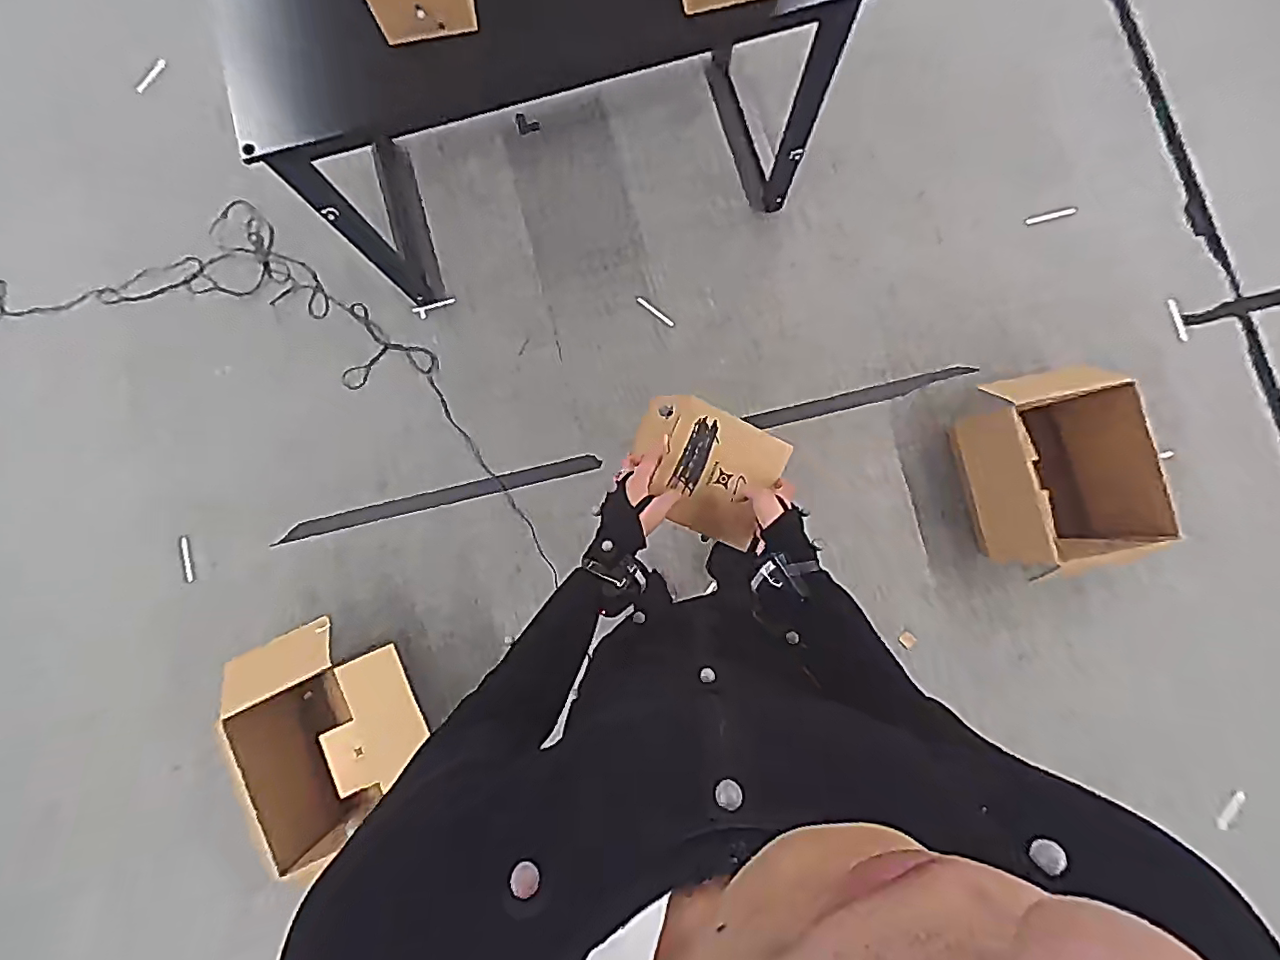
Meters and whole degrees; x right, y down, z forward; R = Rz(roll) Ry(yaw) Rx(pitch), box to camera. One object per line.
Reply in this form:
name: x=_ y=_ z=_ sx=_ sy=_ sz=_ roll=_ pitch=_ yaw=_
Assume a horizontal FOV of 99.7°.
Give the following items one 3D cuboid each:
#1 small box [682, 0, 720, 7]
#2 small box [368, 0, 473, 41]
small box: x=0.145 y=-0.950 z=0.899 sx=0.179 sy=0.176 sz=0.168 roll=-13 pitch=85 yaw=2
small box: x=-0.397 y=-0.902 z=0.912 sx=0.168 sy=0.176 sz=0.179 roll=-9 pitch=85 yaw=1
